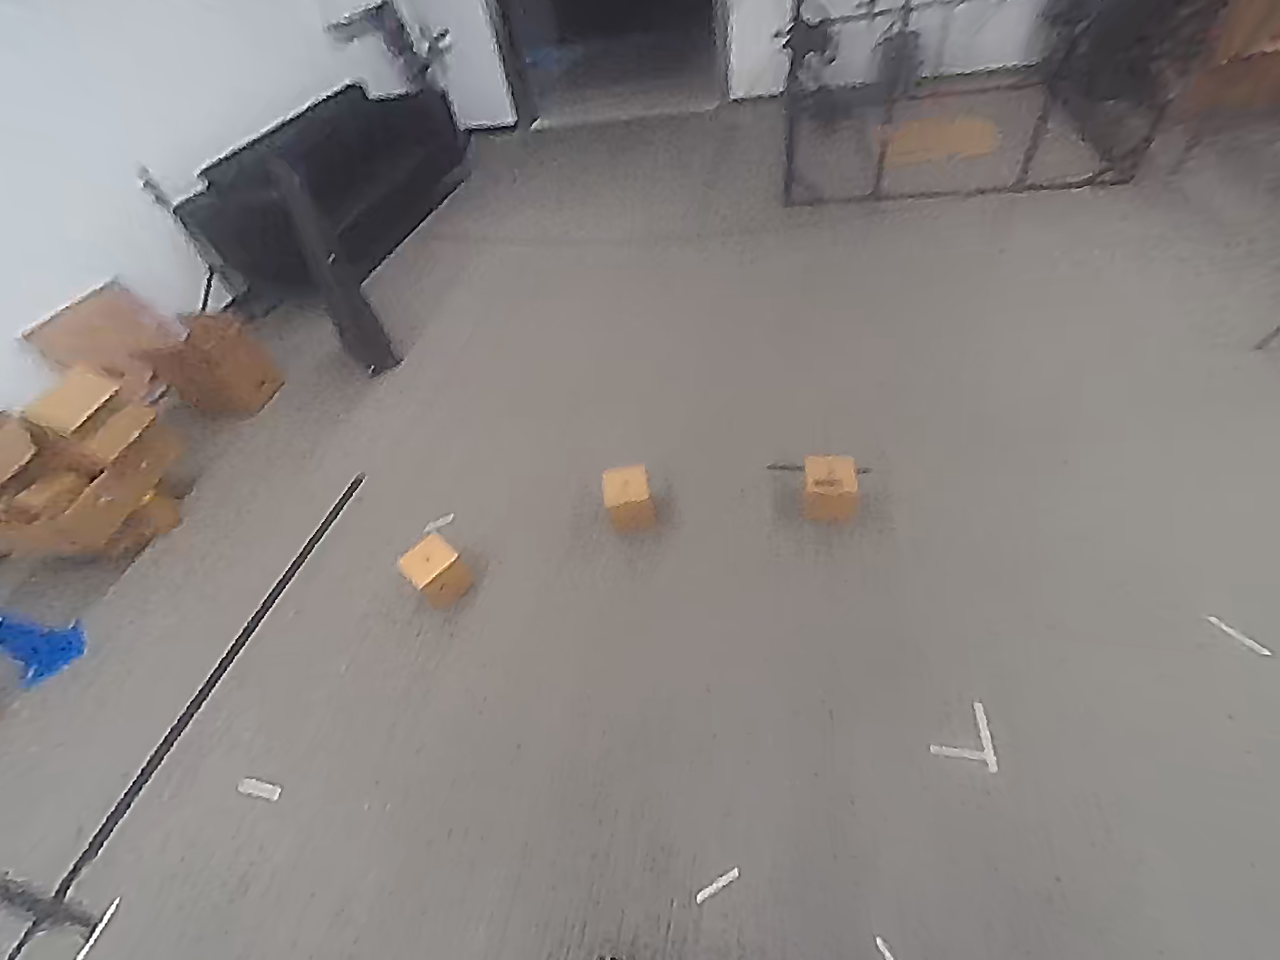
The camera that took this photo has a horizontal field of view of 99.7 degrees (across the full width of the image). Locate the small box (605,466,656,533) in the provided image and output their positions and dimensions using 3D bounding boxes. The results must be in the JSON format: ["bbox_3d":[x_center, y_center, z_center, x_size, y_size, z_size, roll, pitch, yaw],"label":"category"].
[{"bbox_3d":[-0.036,0.077,2.056,0.168,0.176,0.179,-11,47,2],"label":"small box"}]

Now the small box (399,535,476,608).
[{"bbox_3d":[-0.725,0.337,1.956,0.179,0.176,0.168,31,61,33],"label":"small box"}]
